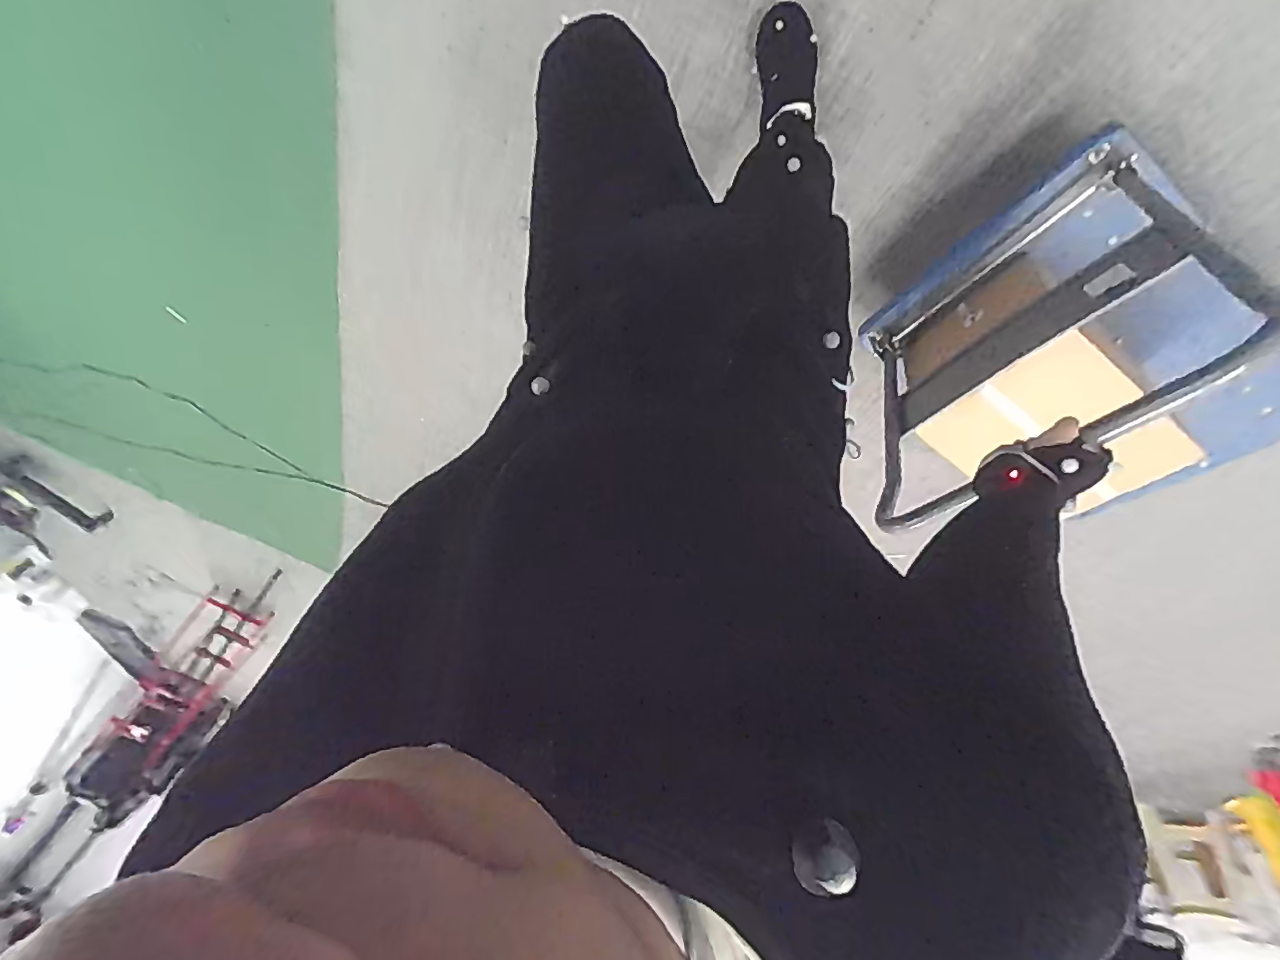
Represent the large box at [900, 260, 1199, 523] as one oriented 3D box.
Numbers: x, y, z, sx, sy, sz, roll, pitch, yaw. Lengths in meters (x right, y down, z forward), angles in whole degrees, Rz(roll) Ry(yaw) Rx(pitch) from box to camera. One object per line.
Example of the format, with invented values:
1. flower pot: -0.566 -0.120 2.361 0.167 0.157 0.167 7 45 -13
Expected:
1. large box: 0.837 -0.183 1.166 0.408 0.320 0.320 33 136 -14
